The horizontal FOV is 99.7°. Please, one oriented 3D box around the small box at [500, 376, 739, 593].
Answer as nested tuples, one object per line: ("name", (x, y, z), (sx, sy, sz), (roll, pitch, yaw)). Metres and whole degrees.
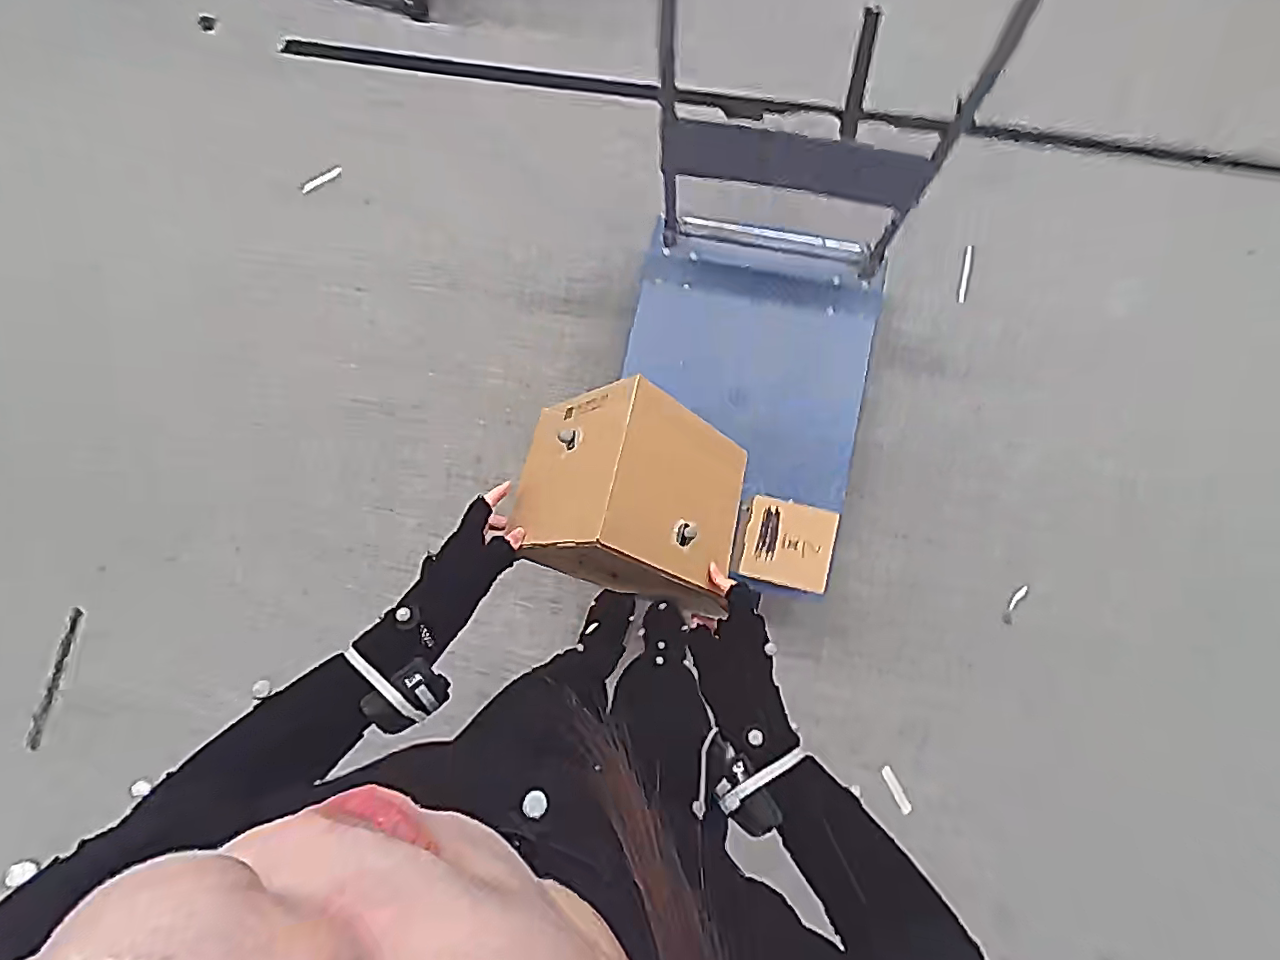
("small box", (-0.013, 0.013, 0.578), (0.179, 0.168, 0.176), (28, 65, -37))
